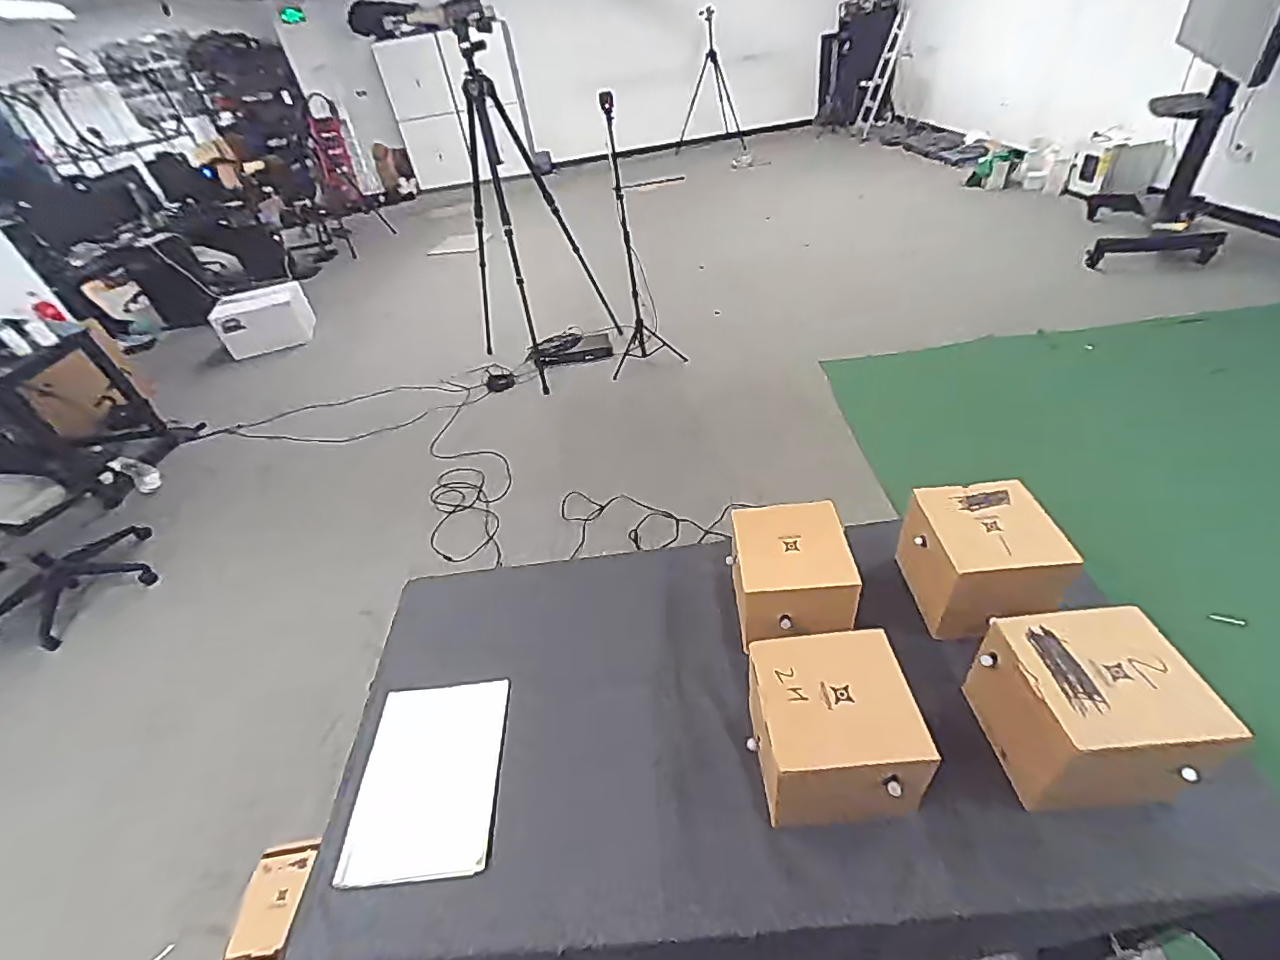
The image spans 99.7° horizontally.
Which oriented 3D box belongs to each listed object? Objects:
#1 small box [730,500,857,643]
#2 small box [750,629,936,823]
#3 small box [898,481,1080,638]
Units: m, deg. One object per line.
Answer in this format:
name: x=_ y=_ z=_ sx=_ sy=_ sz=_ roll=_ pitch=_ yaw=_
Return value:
small box: x=0.240 y=0.158 z=0.878 sx=0.168 sy=0.176 sz=0.179 roll=-5 pitch=40 yaw=6
small box: x=0.239 y=0.313 z=0.688 sx=0.179 sy=0.176 sz=0.168 roll=-7 pitch=39 yaw=4
small box: x=0.527 y=0.125 z=0.852 sx=0.168 sy=0.176 sz=0.179 roll=-6 pitch=40 yaw=6
